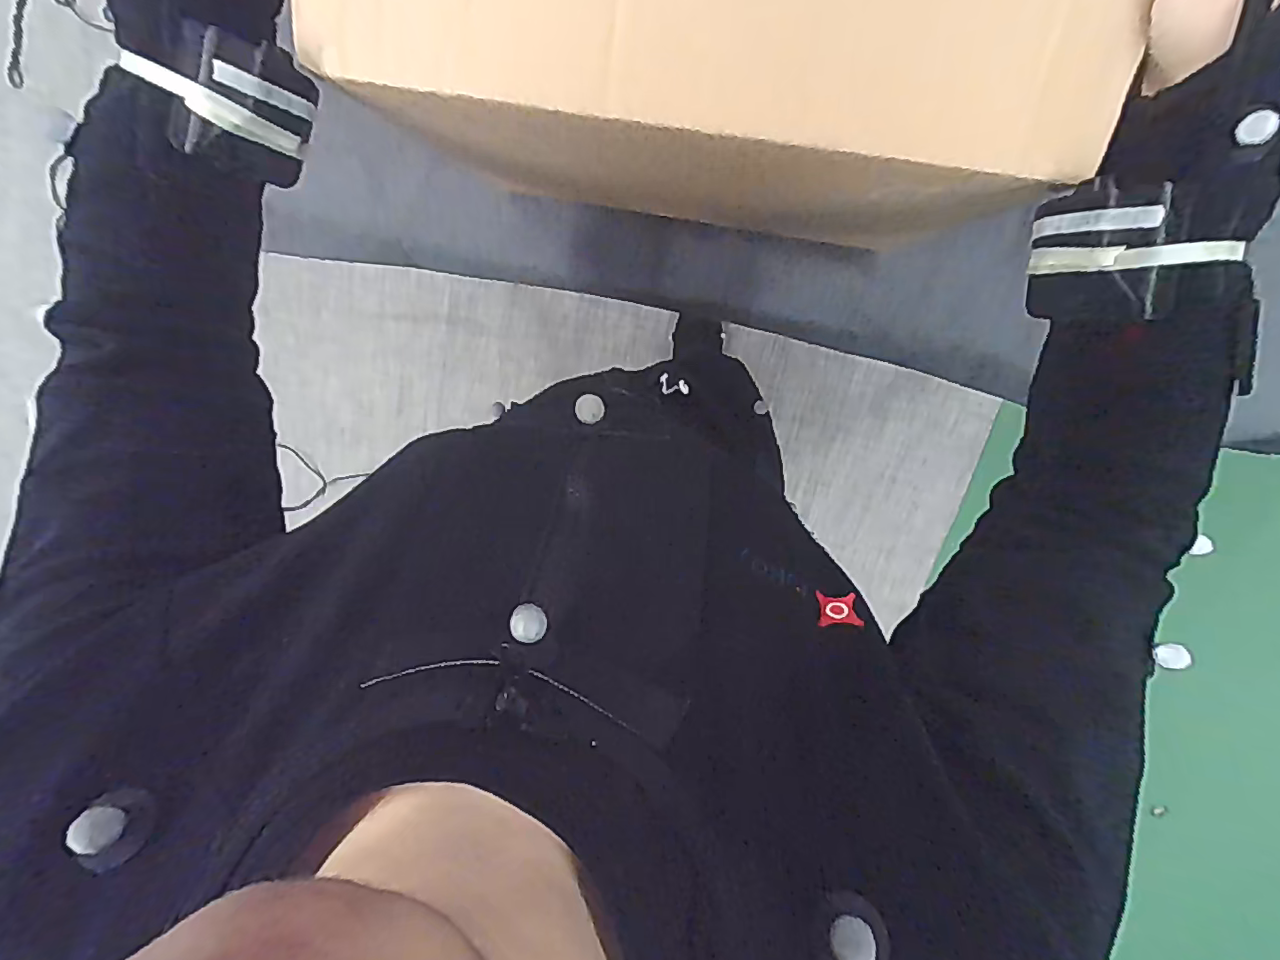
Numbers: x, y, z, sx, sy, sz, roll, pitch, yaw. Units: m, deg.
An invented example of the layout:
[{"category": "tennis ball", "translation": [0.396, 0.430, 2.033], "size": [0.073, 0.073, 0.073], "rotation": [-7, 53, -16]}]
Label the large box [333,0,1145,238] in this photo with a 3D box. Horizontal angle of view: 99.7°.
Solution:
[{"category": "large box", "translation": [0.063, -0.375, 0.378], "size": [0.408, 0.320, 0.320], "rotation": [9, 109, 2]}]
